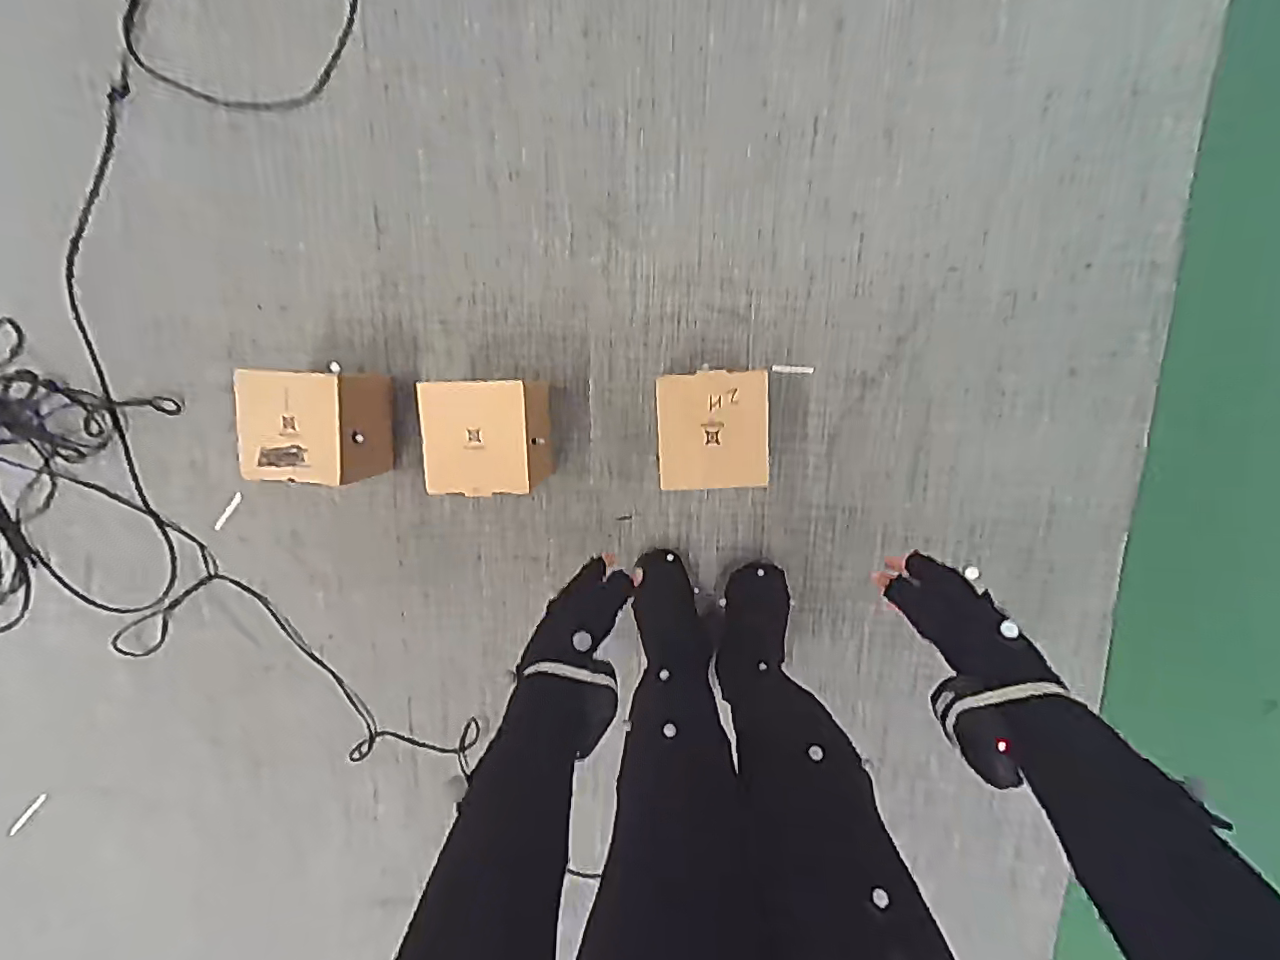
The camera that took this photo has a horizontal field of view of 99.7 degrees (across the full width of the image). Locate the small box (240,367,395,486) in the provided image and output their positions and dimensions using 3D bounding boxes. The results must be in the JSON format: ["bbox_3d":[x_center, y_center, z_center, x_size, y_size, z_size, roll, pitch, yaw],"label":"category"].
[{"bbox_3d":[-0.538,-0.096,0.925,0.168,0.176,0.179,4,99,2],"label":"small box"}]

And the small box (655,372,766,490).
[{"bbox_3d":[0.111,-0.087,0.891,0.168,0.176,0.179,-2,100,3],"label":"small box"}]

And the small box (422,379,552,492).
[{"bbox_3d":[-0.248,-0.080,0.913,0.168,0.176,0.179,-1,101,3],"label":"small box"}]
